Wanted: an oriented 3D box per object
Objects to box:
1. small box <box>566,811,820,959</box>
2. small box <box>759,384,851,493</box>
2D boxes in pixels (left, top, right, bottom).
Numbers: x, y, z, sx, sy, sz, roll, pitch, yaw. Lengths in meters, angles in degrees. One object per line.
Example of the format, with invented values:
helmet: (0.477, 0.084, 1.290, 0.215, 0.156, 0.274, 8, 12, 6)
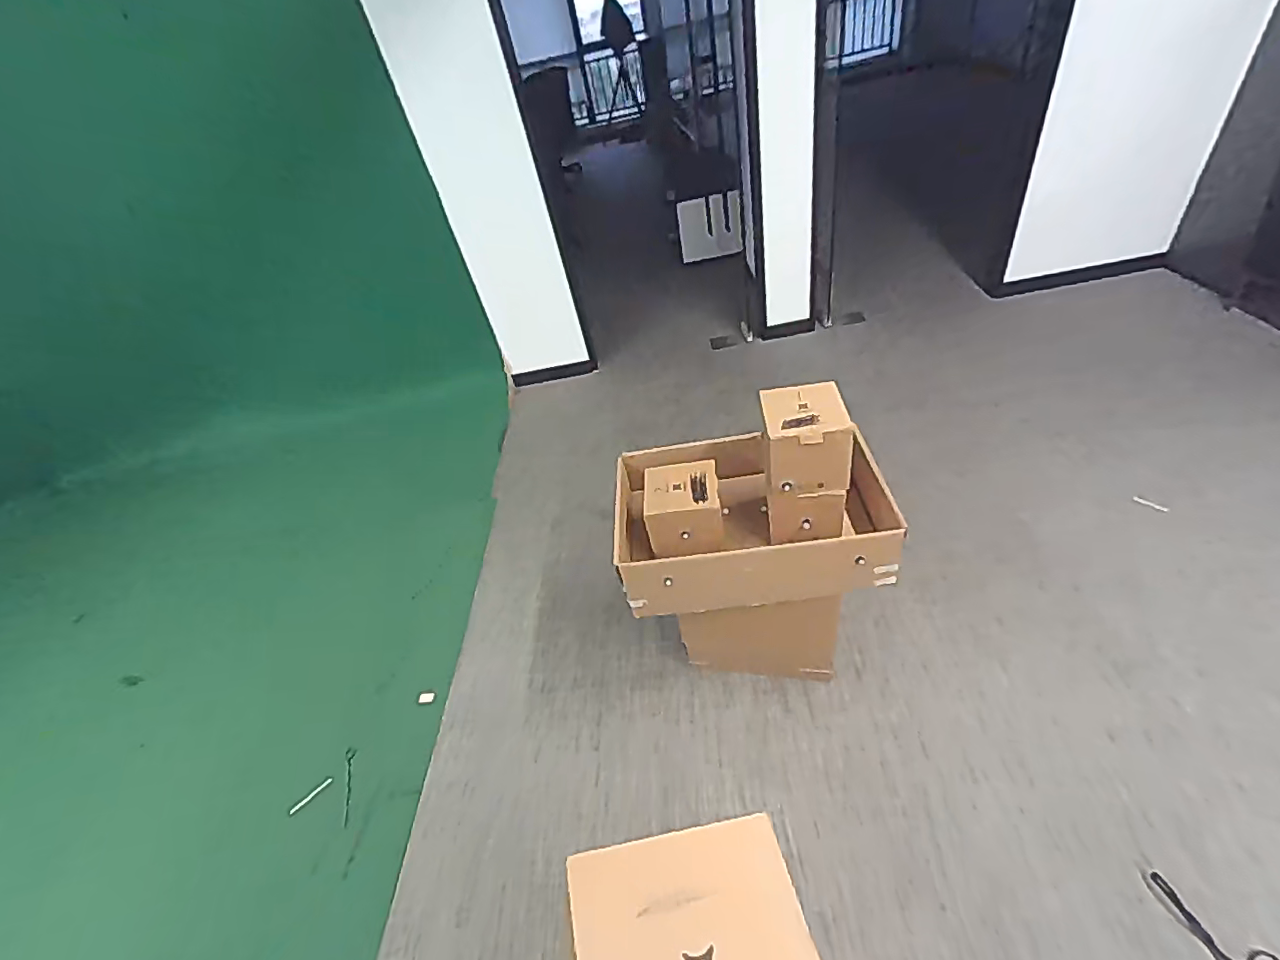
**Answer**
small box: (0.034, 0.390, 0.413, 0.168, 0.176, 0.179, -2, 40, -14)
small box: (0.356, -0.085, 1.185, 0.168, 0.176, 0.179, -6, 41, 9)
